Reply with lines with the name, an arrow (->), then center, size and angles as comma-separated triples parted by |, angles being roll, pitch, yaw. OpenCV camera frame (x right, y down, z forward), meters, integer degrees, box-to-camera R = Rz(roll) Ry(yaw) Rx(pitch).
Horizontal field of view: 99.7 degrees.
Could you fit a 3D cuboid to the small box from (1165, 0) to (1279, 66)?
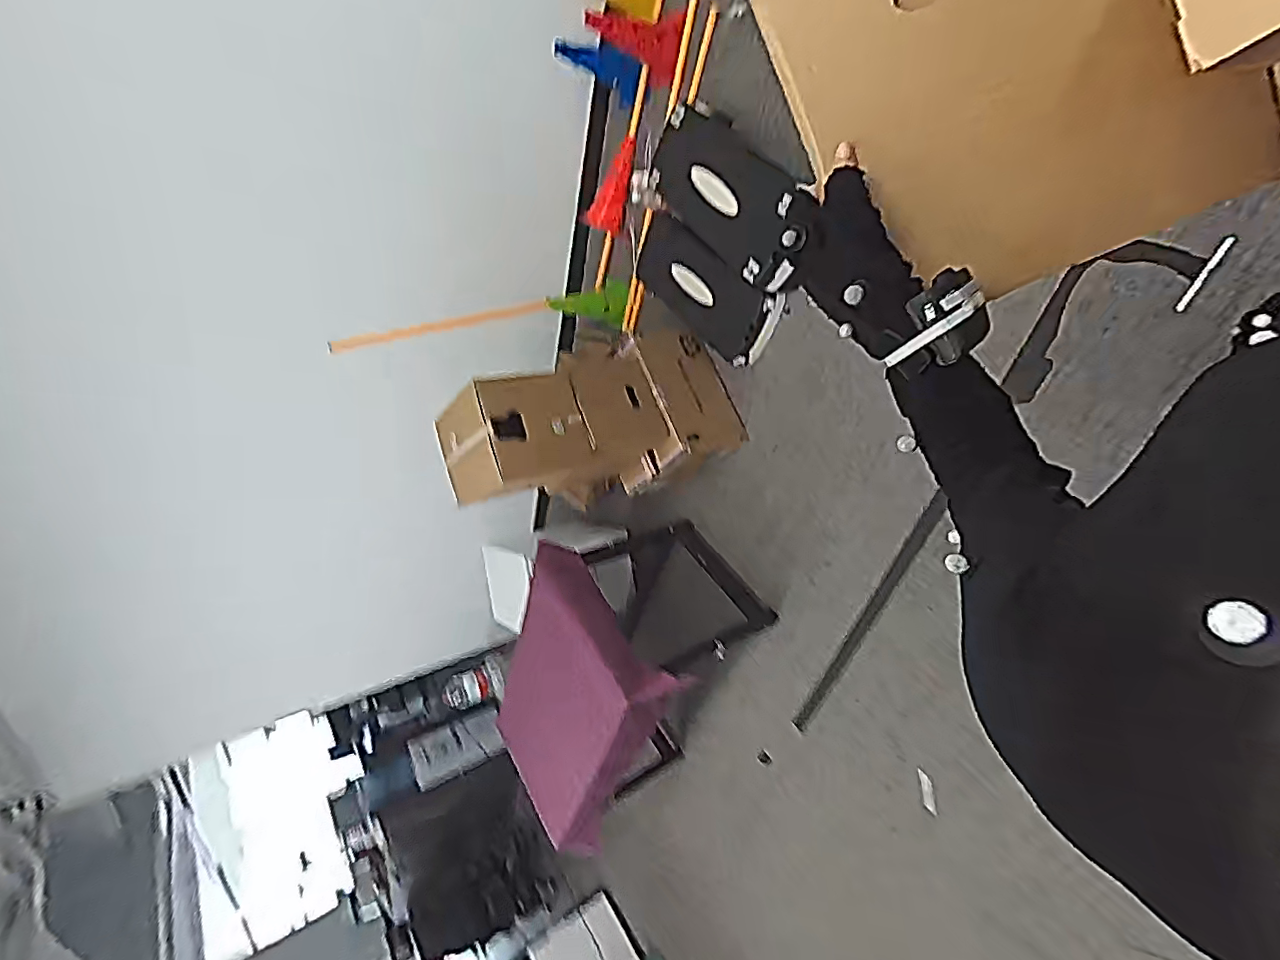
small box -> 0.380, -0.346, 0.255 | 0.179, 0.176, 0.168 | -10, 104, 64
